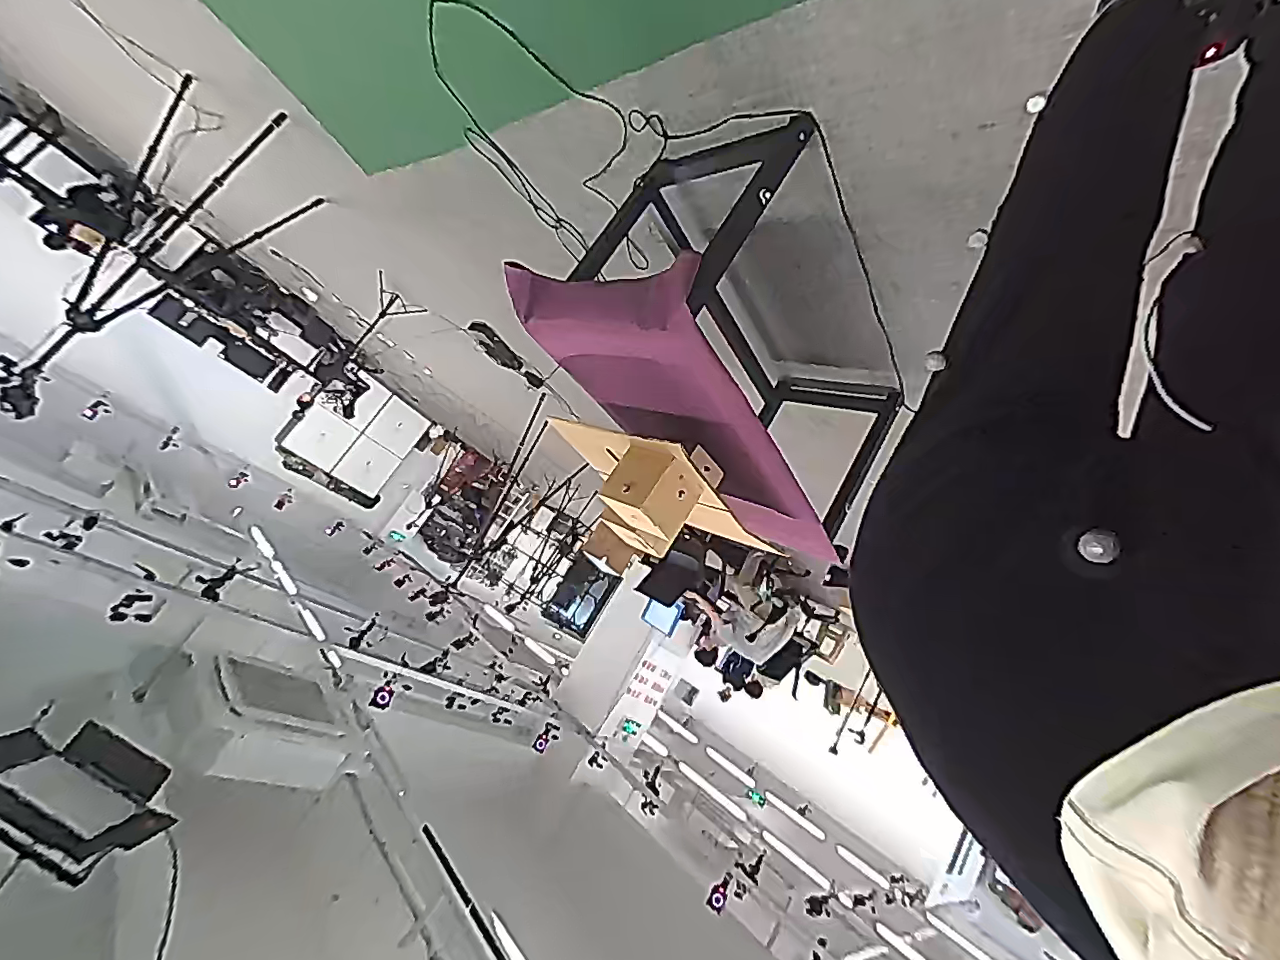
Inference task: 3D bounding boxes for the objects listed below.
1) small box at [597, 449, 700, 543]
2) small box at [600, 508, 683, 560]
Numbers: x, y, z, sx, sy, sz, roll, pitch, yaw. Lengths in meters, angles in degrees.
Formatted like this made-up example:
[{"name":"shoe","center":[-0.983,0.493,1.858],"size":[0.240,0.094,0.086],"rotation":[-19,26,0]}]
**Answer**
[{"name":"small box","center":[0.027,0.037,1.442],"size":[0.179,0.176,0.168],"rotation":[16,156,46]},{"name":"small box","center":[0.013,0.121,1.708],"size":[0.179,0.176,0.168],"rotation":[18,157,47]}]
